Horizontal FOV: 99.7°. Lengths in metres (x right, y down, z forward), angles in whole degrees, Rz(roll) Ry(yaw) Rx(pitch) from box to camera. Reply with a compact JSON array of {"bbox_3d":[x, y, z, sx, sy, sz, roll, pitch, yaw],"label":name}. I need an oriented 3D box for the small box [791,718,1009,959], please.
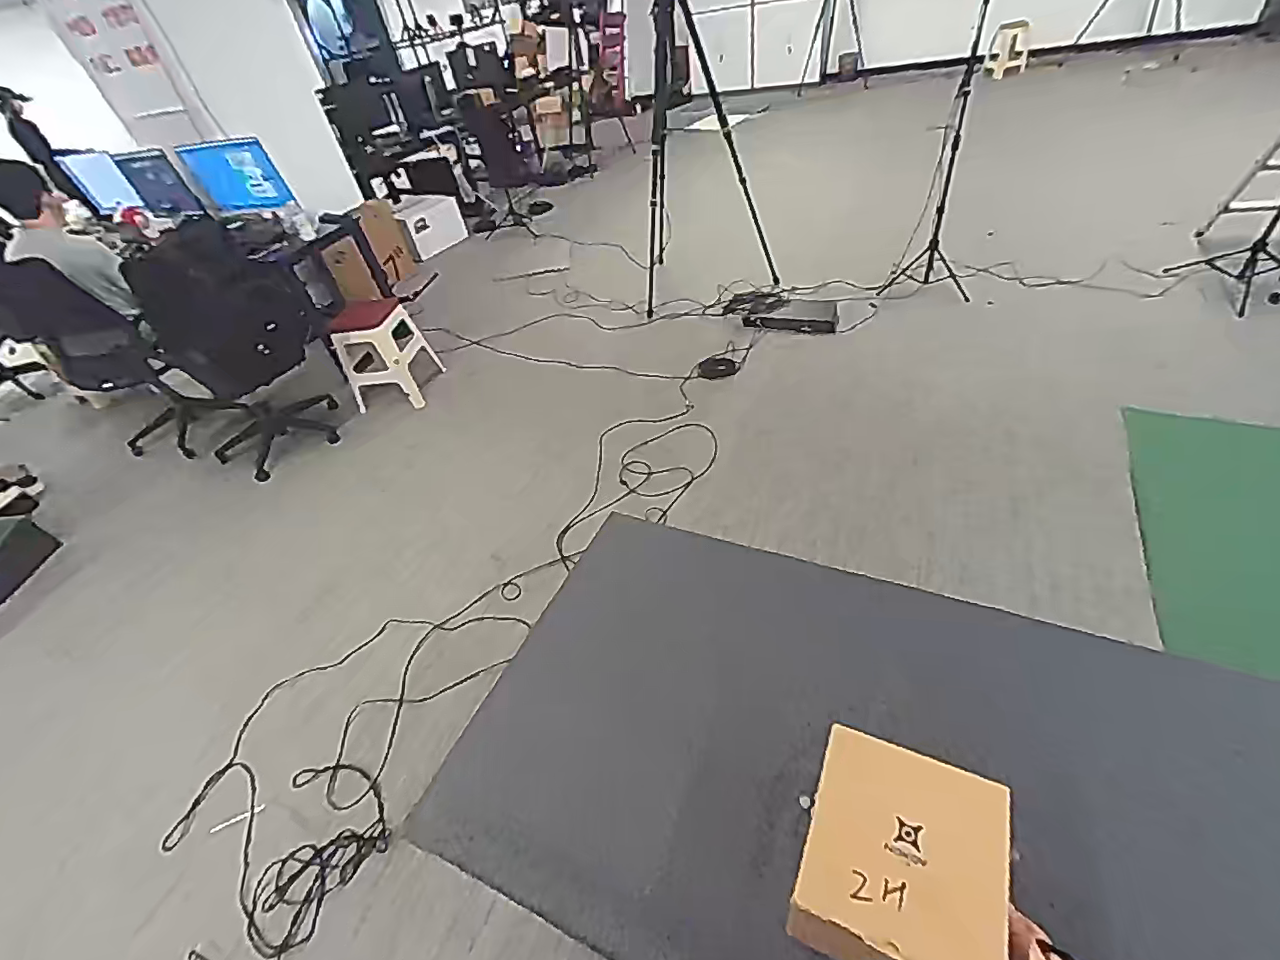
[{"bbox_3d":[0.255,0.386,0.550,0.168,0.176,0.179,12,47,25],"label":"small box"}]
